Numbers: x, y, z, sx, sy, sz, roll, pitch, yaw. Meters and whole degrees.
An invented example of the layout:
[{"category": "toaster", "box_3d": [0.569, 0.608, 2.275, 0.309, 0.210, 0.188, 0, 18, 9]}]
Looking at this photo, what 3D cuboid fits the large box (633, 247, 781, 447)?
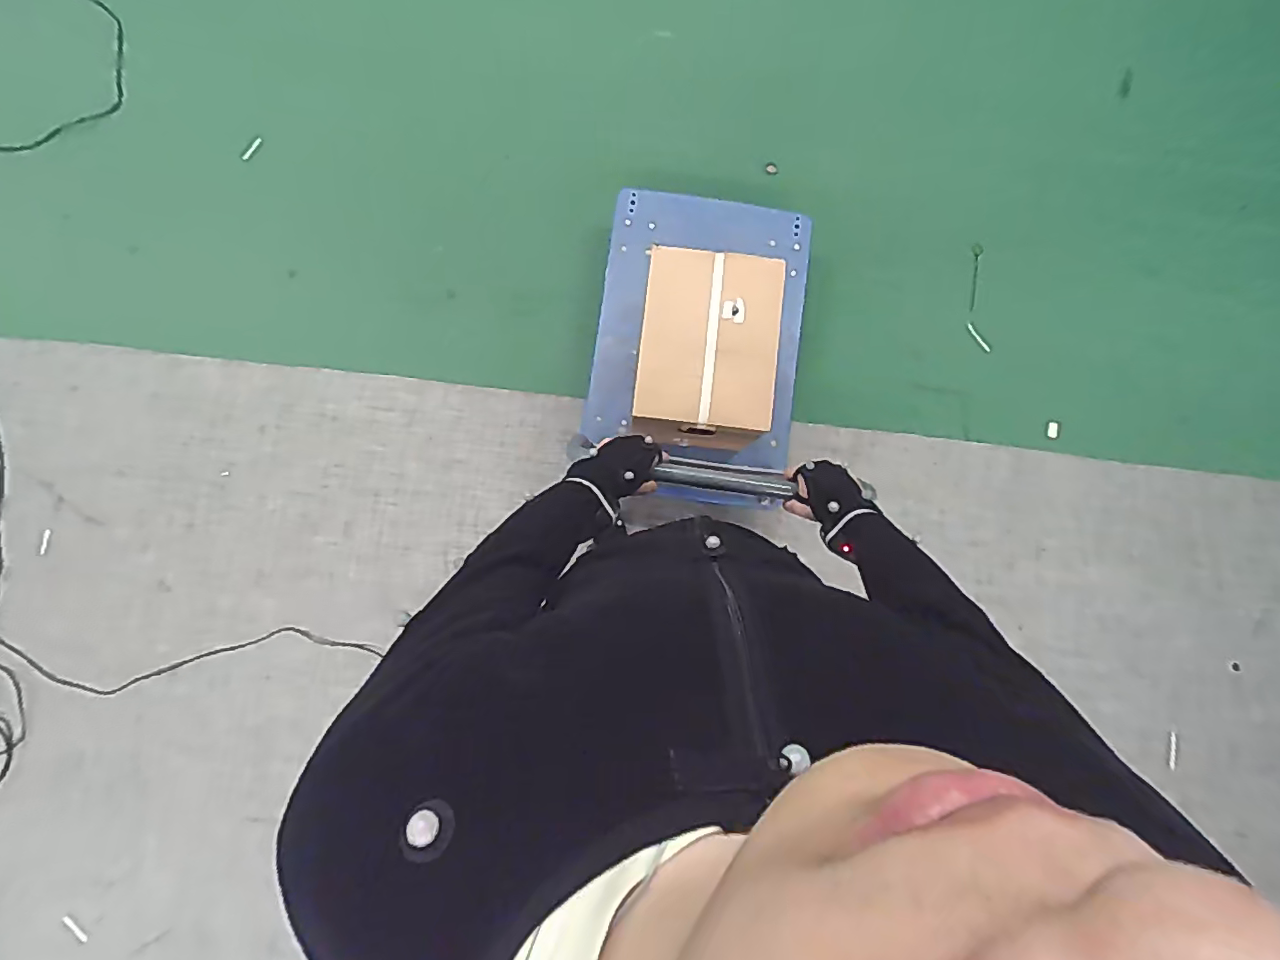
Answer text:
[{"category": "large box", "box_3d": [0.154, -0.312, 1.376, 0.320, 0.320, 0.408, 6, 85, -1]}]
